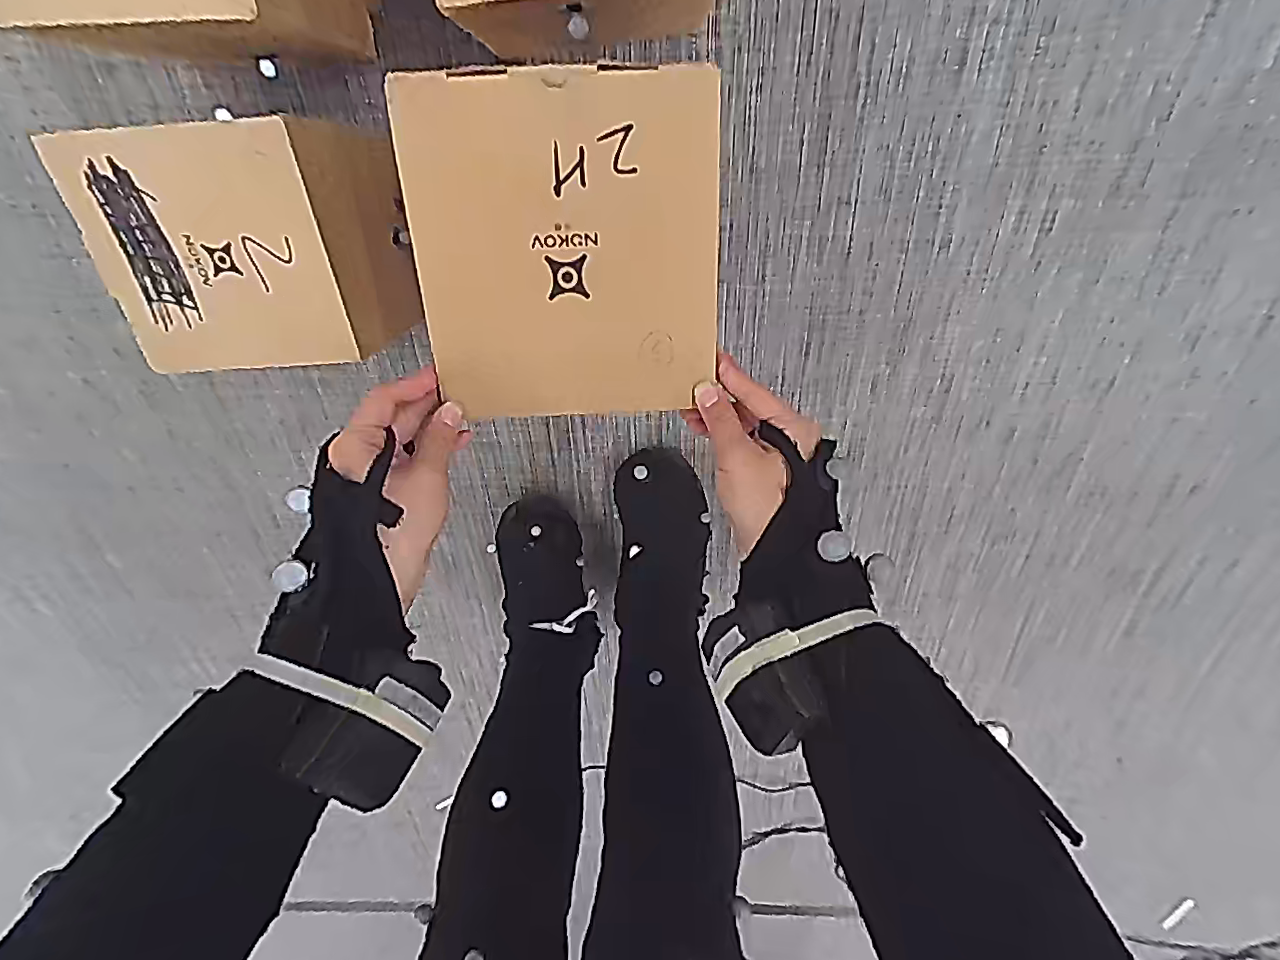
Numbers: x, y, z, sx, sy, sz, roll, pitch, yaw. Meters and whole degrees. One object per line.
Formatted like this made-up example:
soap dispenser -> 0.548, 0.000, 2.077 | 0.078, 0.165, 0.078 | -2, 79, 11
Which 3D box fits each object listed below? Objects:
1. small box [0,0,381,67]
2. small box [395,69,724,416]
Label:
small box -> -0.309, -0.386, 0.353 | 0.179, 0.176, 0.168 | -1, 120, 1
small box -> -0.040, -0.153, 0.373 | 0.168, 0.176, 0.179 | -3, 113, -2
